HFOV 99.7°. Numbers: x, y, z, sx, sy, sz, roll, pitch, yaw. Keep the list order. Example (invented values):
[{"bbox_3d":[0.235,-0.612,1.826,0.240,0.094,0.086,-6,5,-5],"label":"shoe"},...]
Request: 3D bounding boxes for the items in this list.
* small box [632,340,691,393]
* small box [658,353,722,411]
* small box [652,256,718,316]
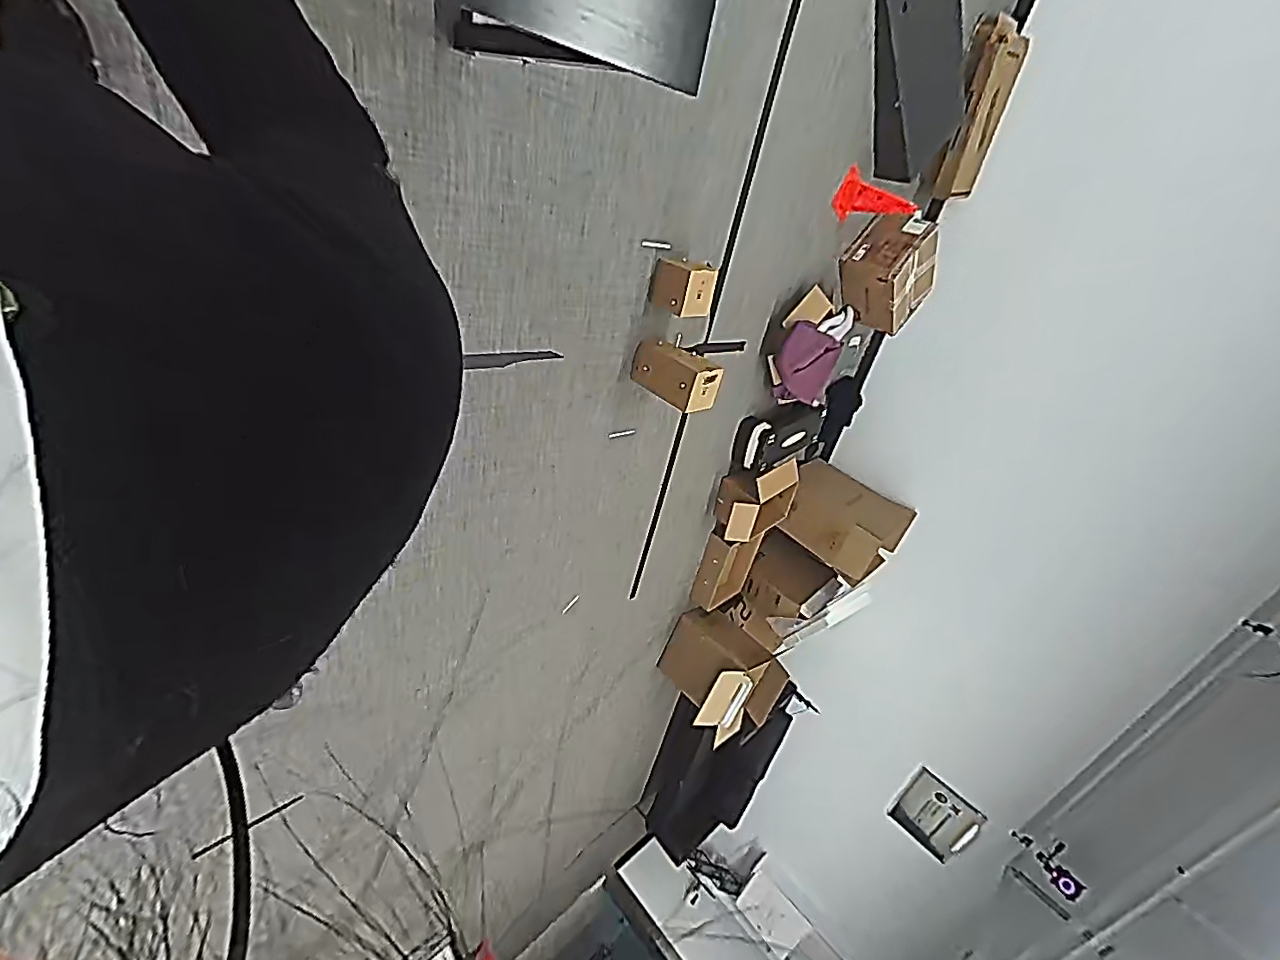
[{"bbox_3d":[0.091,-0.474,2.250,0.179,0.176,0.168,-15,131,-43],"label":"small box"},{"bbox_3d":[0.193,-0.395,2.144,0.168,0.176,0.179,-17,134,-42],"label":"small box"},{"bbox_3d":[0.167,-0.749,2.087,0.168,0.176,0.179,-19,134,-41],"label":"small box"}]
